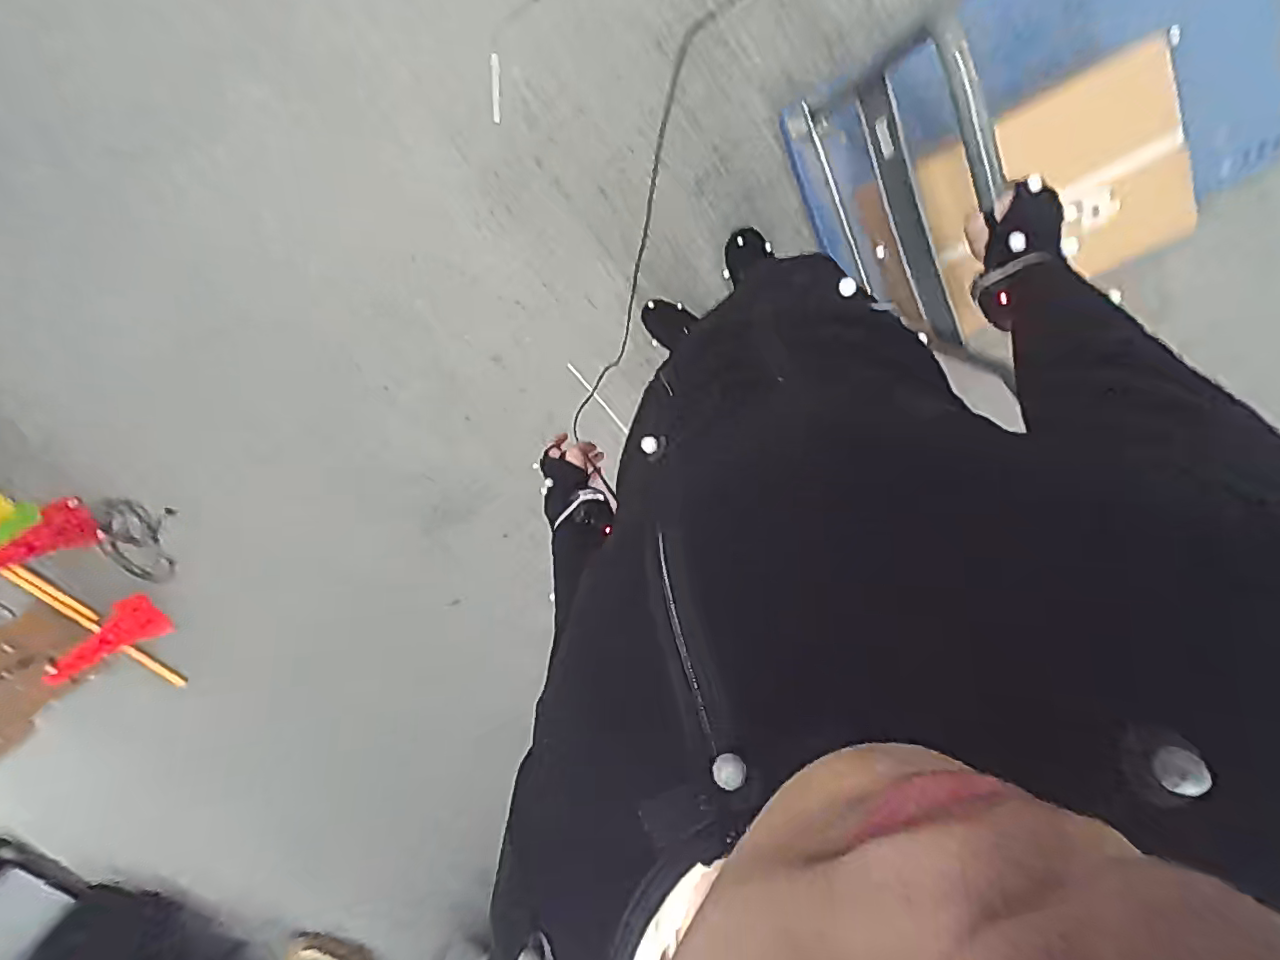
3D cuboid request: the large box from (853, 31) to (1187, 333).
[{"bbox_3d":[0.703,-0.544,1.066,0.408,0.320,0.320,-26,110,16],"label":"large box"}]
